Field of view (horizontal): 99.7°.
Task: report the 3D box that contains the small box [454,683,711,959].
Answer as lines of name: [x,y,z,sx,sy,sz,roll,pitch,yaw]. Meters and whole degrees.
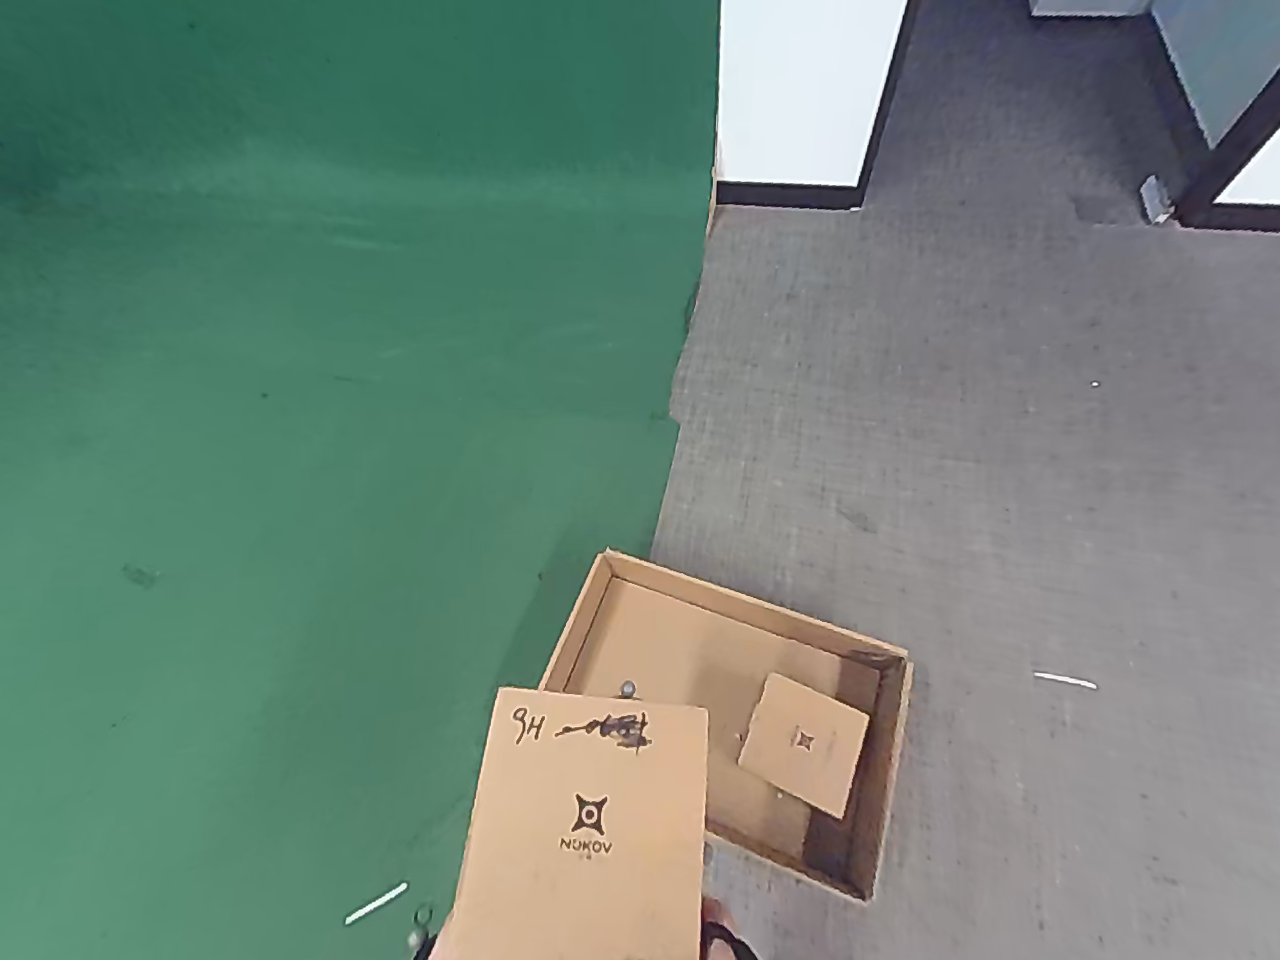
small box: [-0.033,0.281,0.461,0.168,0.176,0.179,6,64,4]
